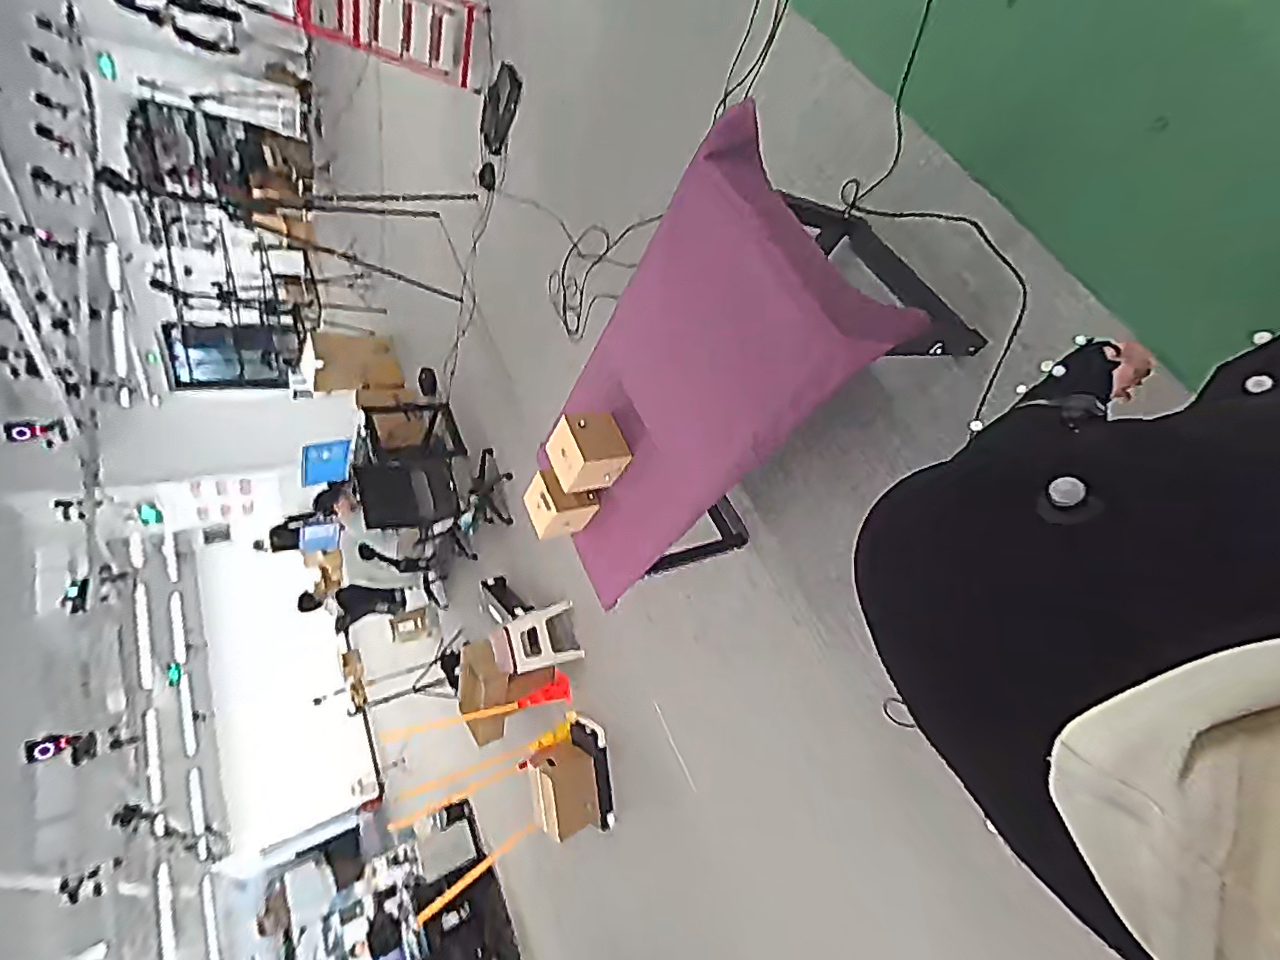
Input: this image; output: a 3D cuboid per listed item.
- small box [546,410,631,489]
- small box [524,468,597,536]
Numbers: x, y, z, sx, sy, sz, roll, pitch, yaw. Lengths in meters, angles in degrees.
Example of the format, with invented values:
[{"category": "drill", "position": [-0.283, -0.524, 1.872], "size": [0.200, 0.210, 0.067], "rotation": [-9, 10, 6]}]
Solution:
[{"category": "small box", "position": [-0.157, -0.096, 1.637], "size": [0.168, 0.176, 0.179], "rotation": [-50, 59, 46]}, {"category": "small box", "position": [-0.262, 0.062, 1.809], "size": [0.179, 0.176, 0.168], "rotation": [-51, 58, 46]}]
